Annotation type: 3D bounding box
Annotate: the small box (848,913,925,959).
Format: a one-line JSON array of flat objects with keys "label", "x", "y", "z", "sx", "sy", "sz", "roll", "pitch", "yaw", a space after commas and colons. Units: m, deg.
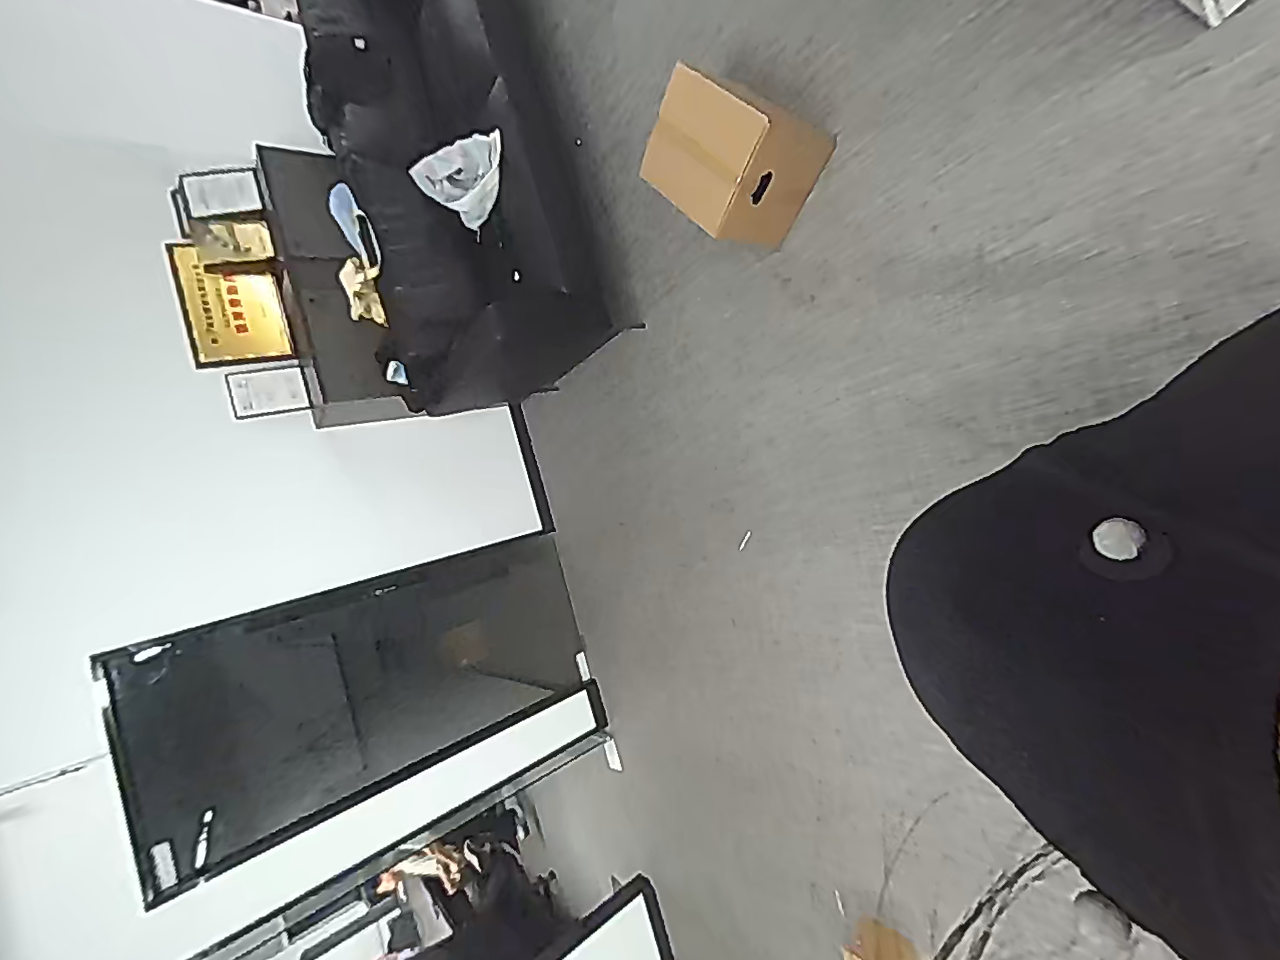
[{"label": "small box", "x": 0.848, "y": 1.638, "z": 1.846, "sx": 0.179, "sy": 0.176, "sz": 0.168, "roll": -10, "pitch": 93, "yaw": 53}]
